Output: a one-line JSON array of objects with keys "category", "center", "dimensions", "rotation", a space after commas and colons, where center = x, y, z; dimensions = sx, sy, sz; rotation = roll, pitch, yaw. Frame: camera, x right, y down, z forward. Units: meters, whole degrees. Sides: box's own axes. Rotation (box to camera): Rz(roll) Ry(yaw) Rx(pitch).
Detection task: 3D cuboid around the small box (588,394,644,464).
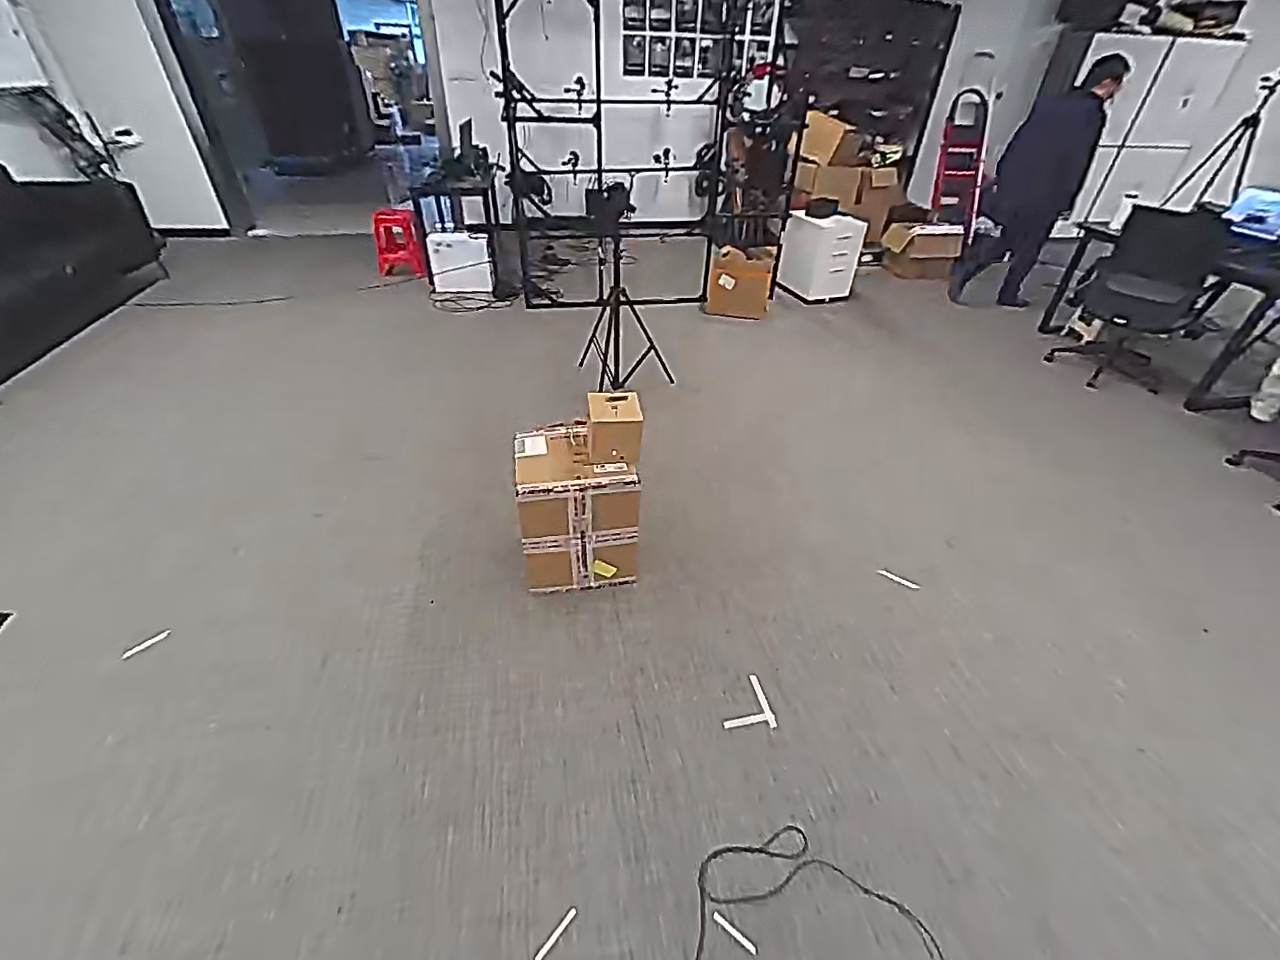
[{"category": "small box", "center": [-0.085, -0.169, 1.791], "dimensions": [0.168, 0.176, 0.179], "rotation": [-2, 40, -9]}]
